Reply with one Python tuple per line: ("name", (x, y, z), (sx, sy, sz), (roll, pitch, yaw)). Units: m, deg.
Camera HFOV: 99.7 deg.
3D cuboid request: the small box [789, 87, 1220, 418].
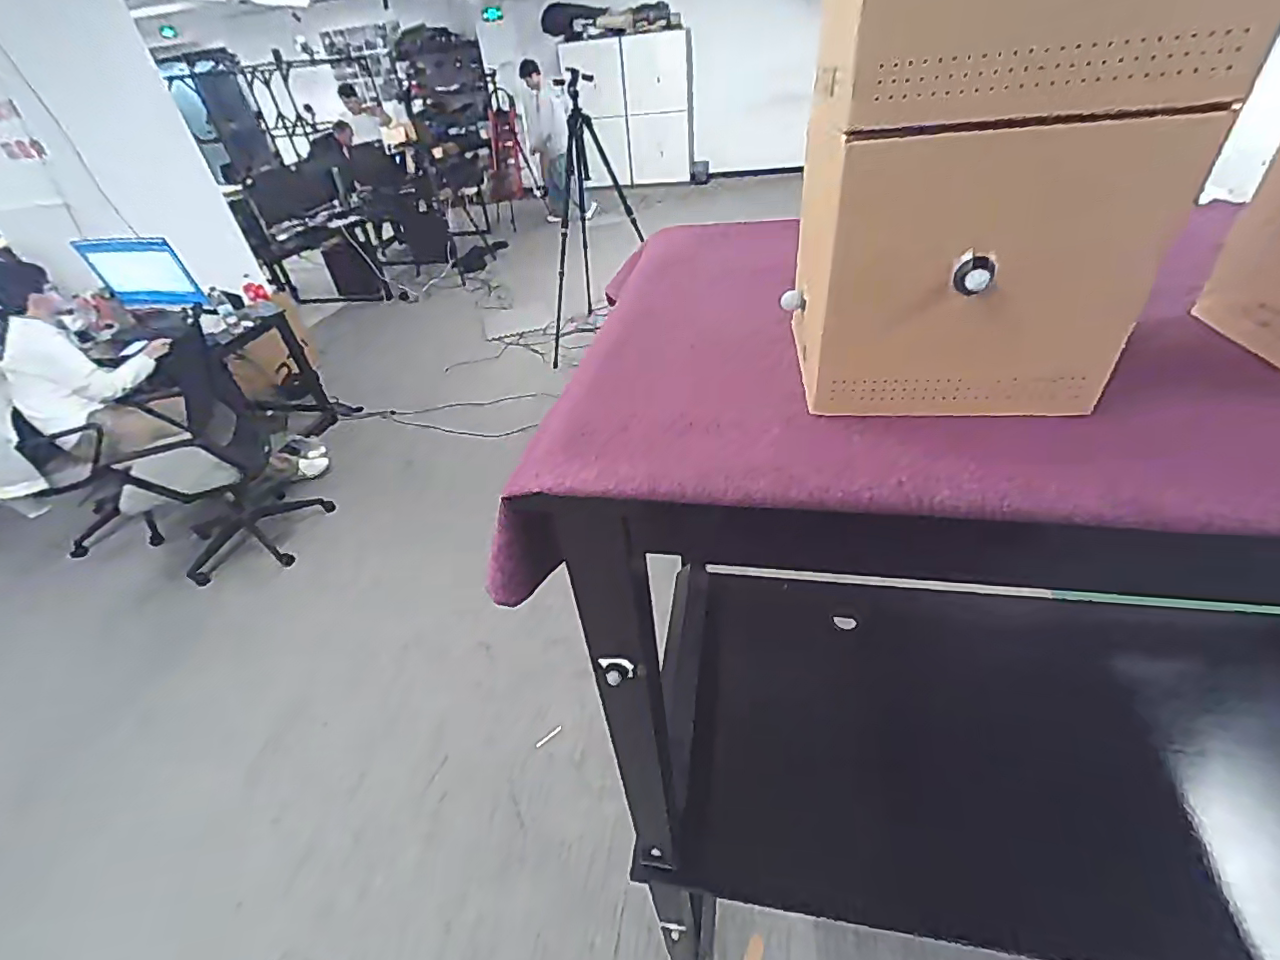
("small box", (0.203, -0.153, 0.372), (0.179, 0.176, 0.168), (0, 38, 10))
